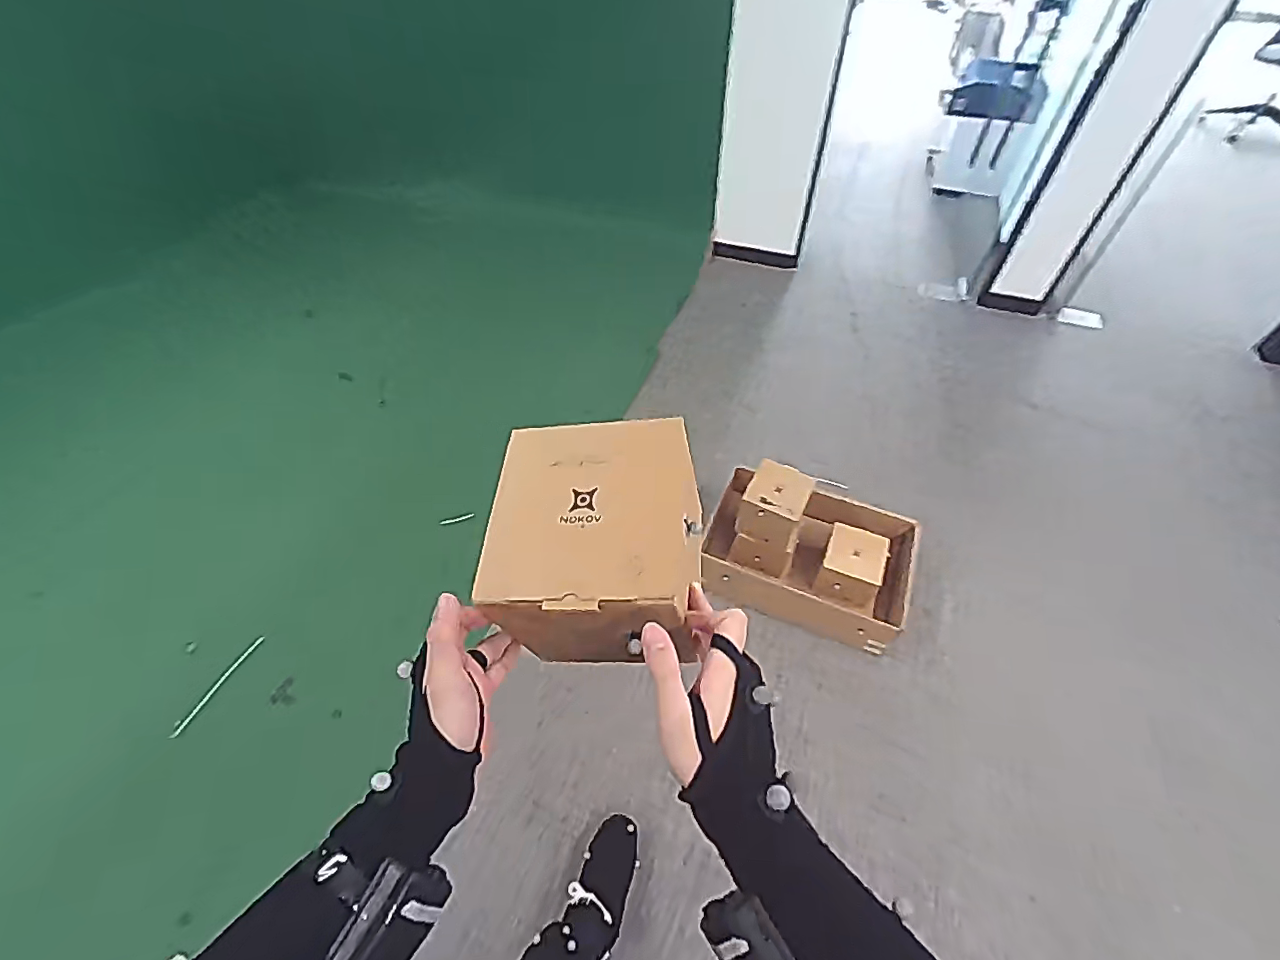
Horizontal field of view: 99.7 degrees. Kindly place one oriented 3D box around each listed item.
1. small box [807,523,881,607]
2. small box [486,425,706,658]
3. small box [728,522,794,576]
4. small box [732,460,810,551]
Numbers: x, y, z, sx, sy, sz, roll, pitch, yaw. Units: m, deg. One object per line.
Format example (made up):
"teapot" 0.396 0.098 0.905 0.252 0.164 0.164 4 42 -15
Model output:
"small box" 0.631 0.269 1.688 0.168 0.176 0.179 18 54 15
"small box" -0.025 0.068 0.535 0.168 0.176 0.179 -2 56 12
"small box" 0.391 0.184 1.753 0.168 0.176 0.179 19 54 13
"small box" 0.387 0.079 1.628 0.168 0.176 0.179 24 55 17
